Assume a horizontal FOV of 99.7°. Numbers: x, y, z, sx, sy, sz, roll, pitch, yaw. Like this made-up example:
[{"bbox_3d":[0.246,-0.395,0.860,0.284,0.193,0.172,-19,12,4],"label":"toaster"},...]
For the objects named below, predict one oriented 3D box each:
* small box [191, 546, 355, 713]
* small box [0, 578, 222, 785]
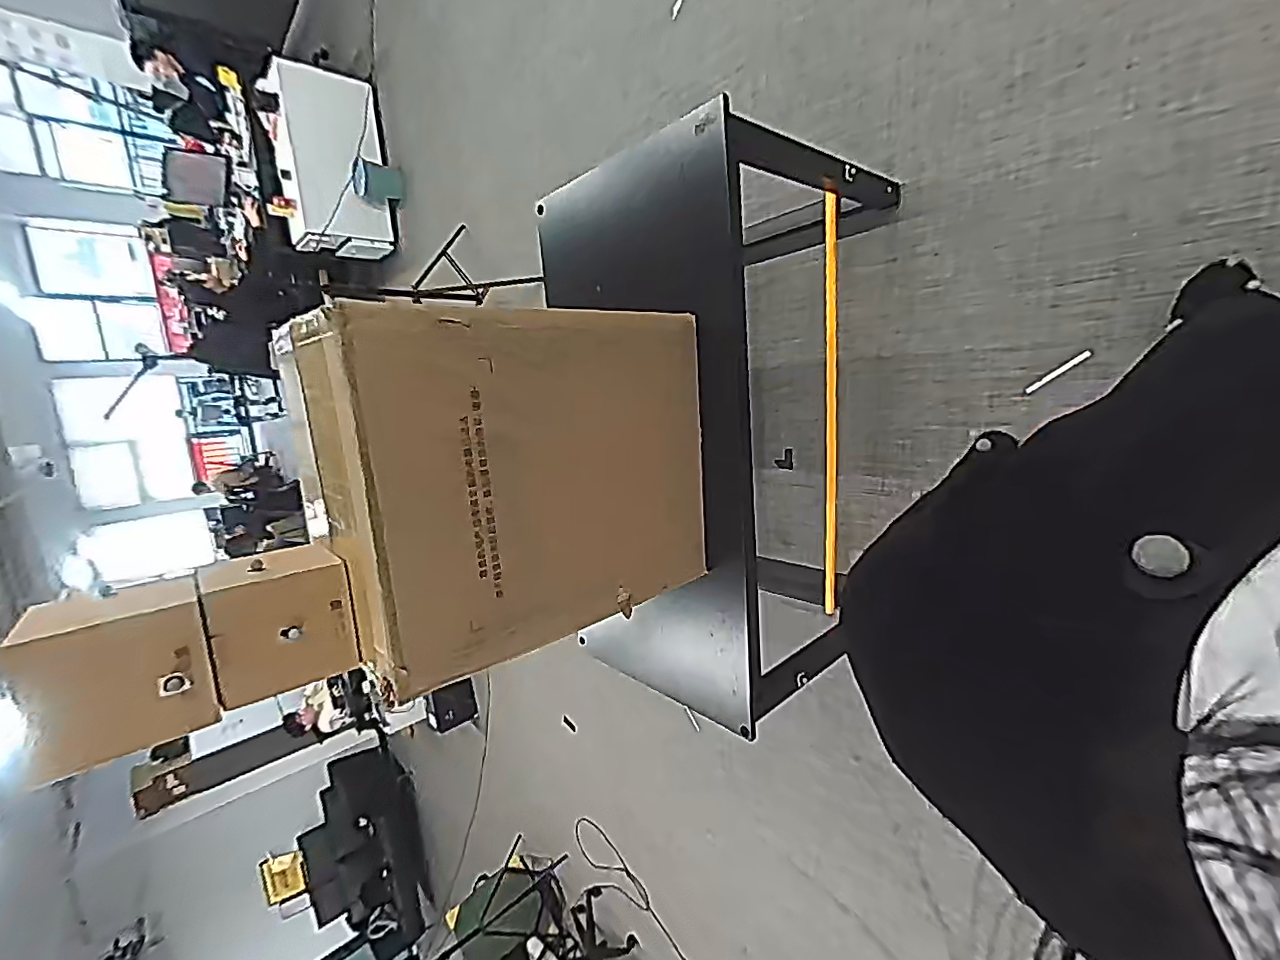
[{"bbox_3d":[-0.535,0.204,0.798,0.179,0.176,0.168,6,103,48],"label":"small box"},{"bbox_3d":[-0.649,0.233,0.683,0.179,0.176,0.168,5,104,49],"label":"small box"}]
